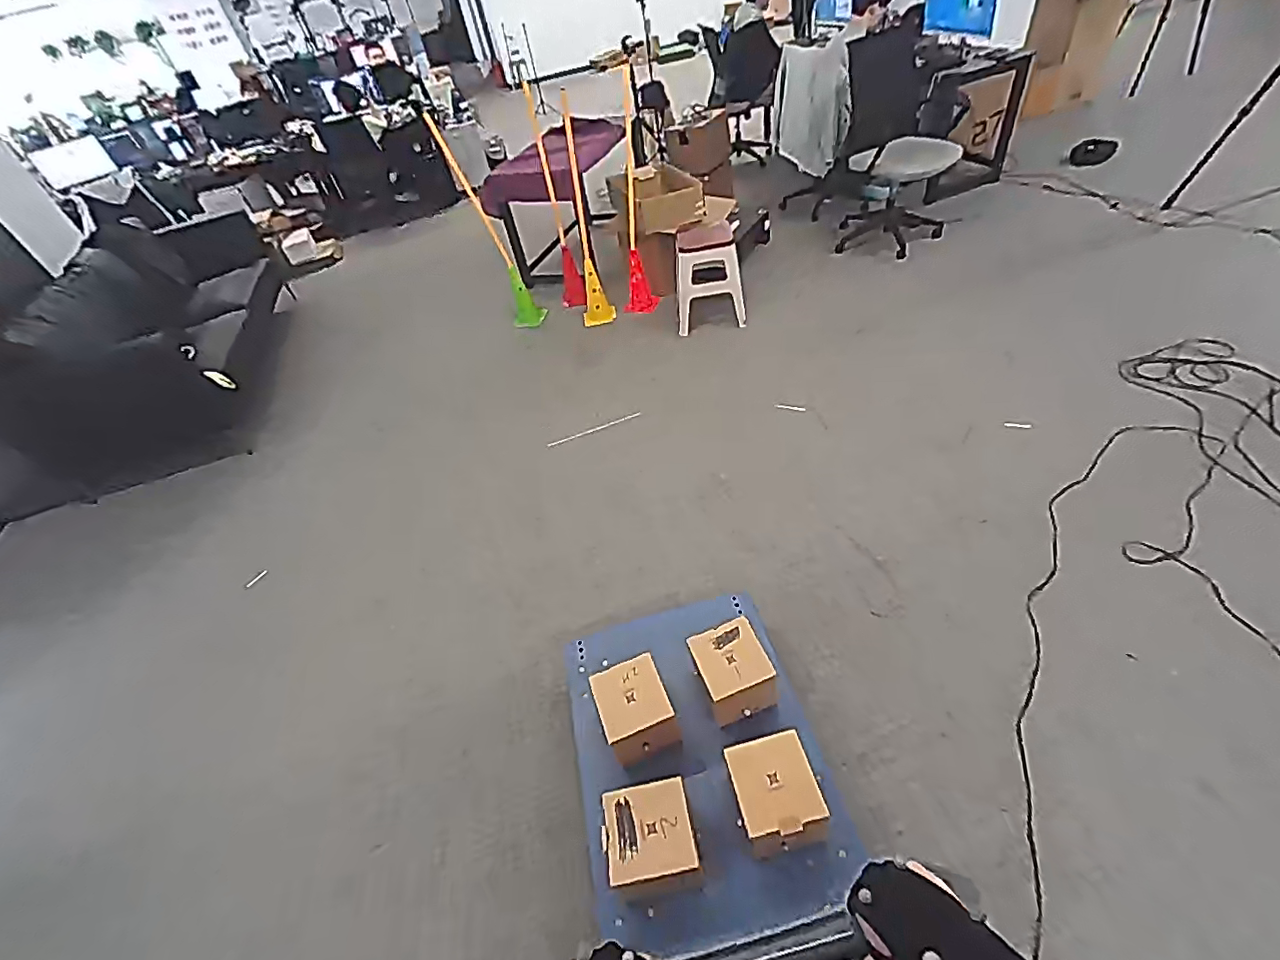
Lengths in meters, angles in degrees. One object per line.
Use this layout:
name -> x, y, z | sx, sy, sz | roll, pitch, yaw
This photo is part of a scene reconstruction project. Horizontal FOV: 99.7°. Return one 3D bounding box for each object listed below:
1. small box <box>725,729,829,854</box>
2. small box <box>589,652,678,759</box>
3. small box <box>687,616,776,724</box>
small box -> 0.288, 0.676, 1.172 | 0.168, 0.176, 0.179 | -15, 45, -2
small box -> -0.013, 0.568, 1.347 | 0.168, 0.176, 0.179 | -20, 44, -8
small box -> 0.231, 0.485, 1.377 | 0.168, 0.176, 0.179 | -20, 45, -7
